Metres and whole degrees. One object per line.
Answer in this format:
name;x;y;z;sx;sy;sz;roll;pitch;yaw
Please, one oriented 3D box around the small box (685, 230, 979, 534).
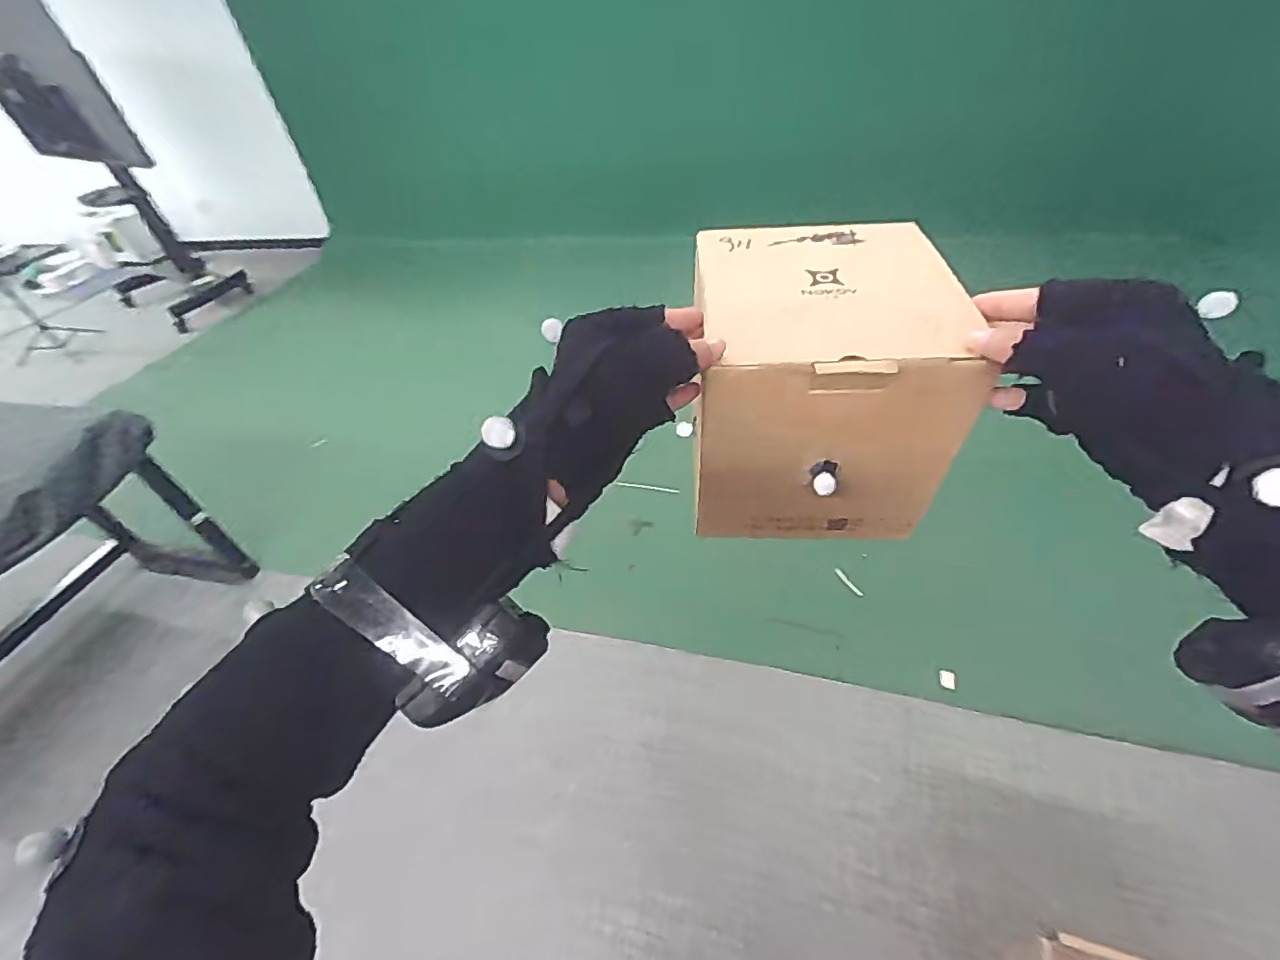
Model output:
small box;0.120;-0.071;0.423;0.168;0.176;0.179;0;48;4
